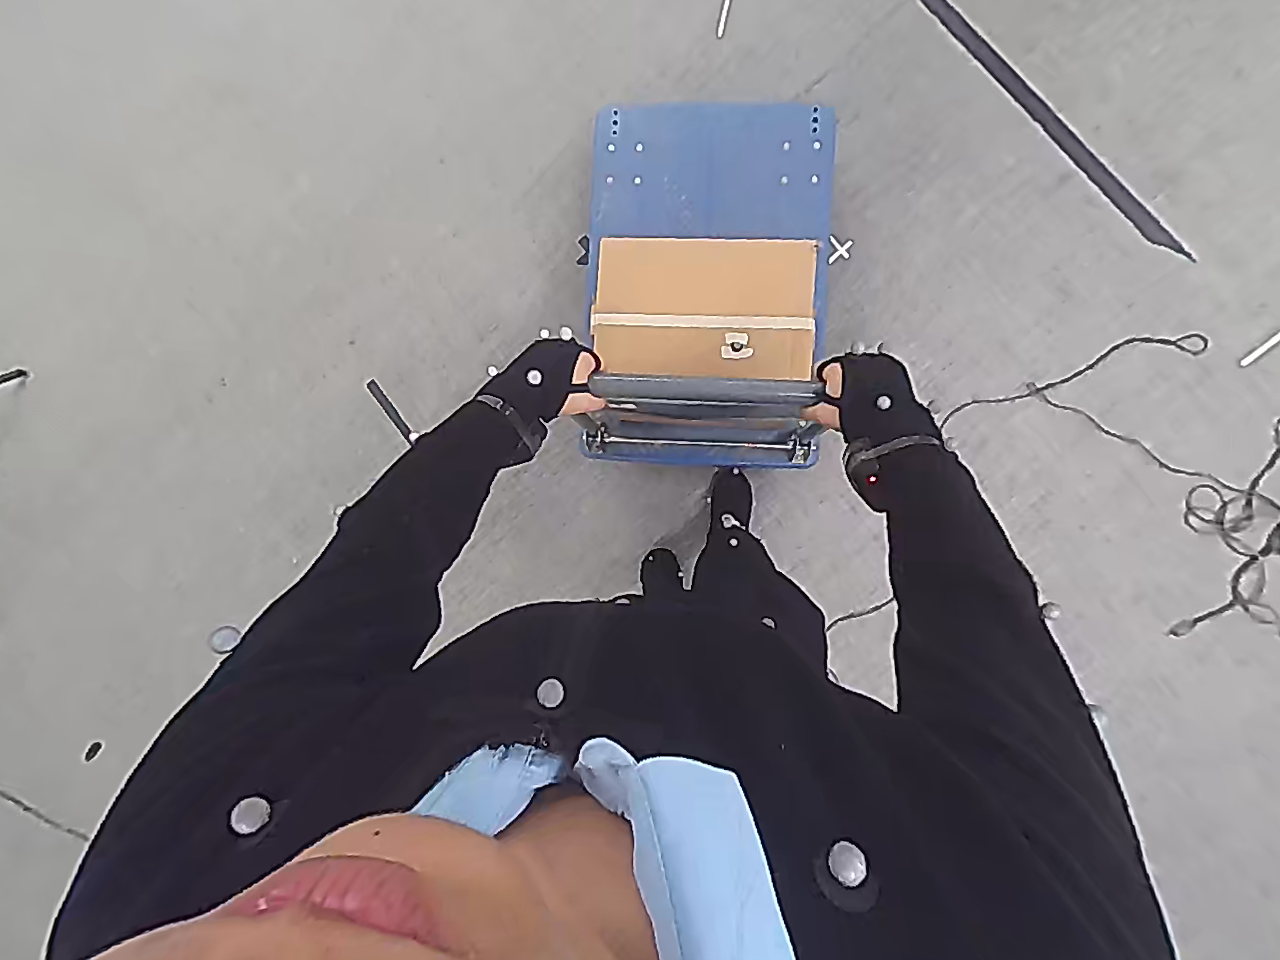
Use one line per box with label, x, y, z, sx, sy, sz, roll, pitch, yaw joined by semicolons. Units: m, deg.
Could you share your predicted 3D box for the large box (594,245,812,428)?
large box;0.125;-0.284;1.158;0.408;0.320;0.320;3;90;5
